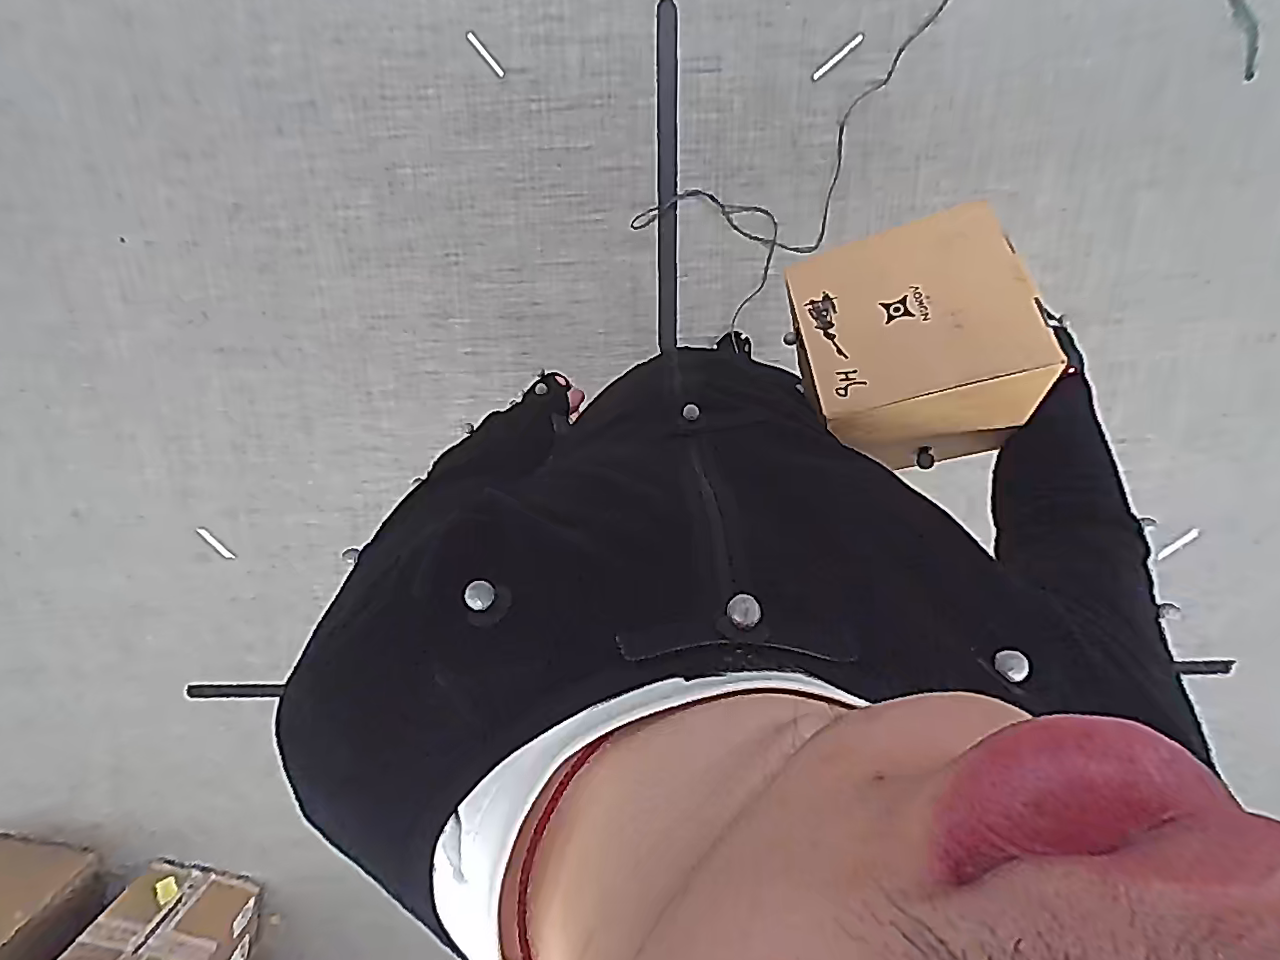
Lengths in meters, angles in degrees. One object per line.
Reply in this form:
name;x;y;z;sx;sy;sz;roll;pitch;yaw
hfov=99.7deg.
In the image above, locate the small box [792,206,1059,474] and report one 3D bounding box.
small box;0.259;-0.122;0.535;0.179;0.176;0.168;-13;66;16
